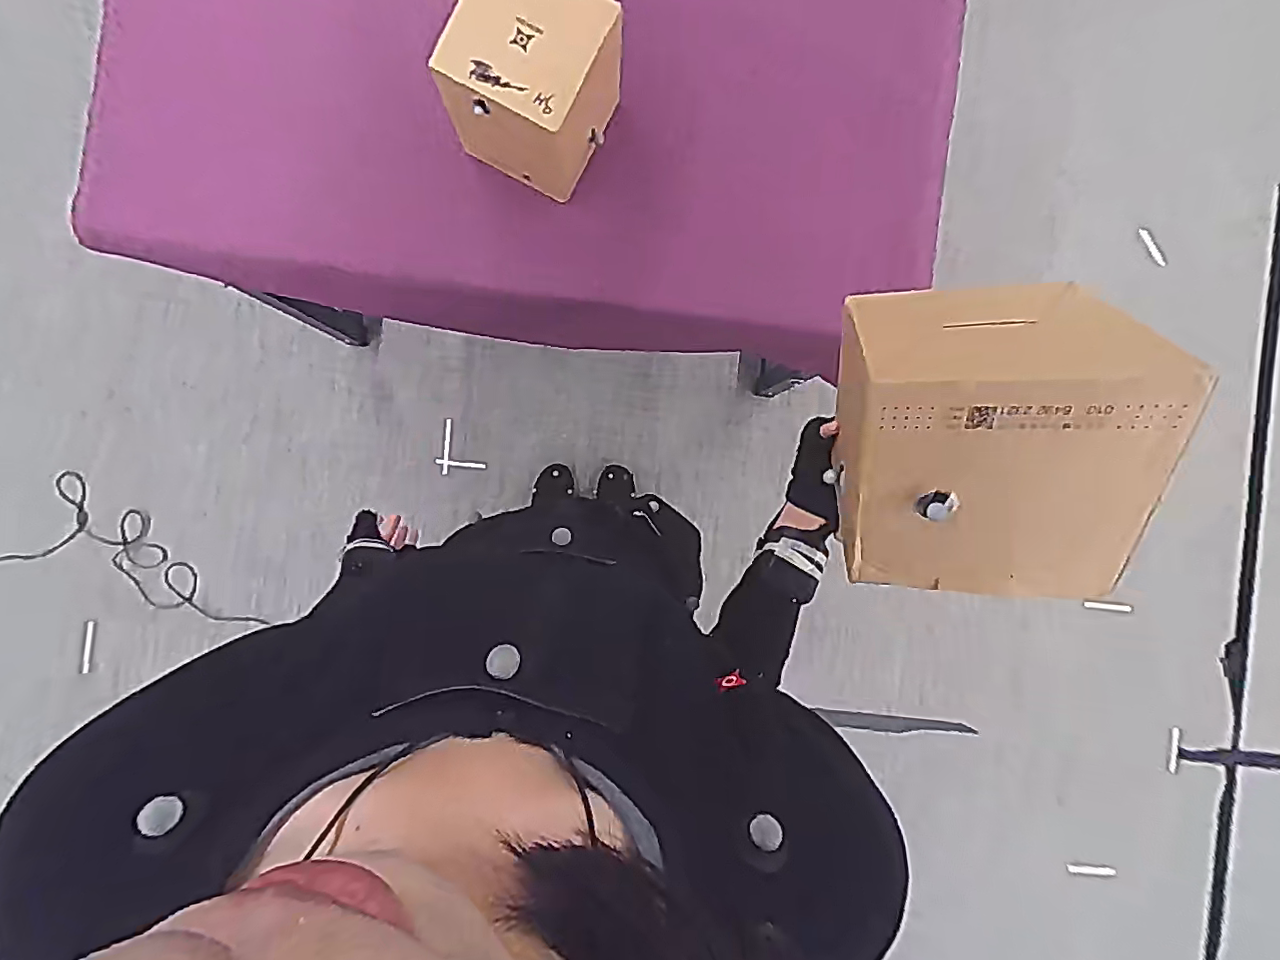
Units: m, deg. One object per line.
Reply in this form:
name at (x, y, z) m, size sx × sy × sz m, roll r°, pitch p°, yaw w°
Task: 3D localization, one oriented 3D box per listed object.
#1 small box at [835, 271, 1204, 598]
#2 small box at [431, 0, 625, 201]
small box at (0.240, -0.040, 0.392) m, size 0.168 × 0.179 × 0.176 m, roll 1°, pitch 125°, yaw 14°
small box at (-0.134, -0.508, 0.696) m, size 0.168 × 0.176 × 0.179 m, roll 27°, pitch 88°, yaw -4°
